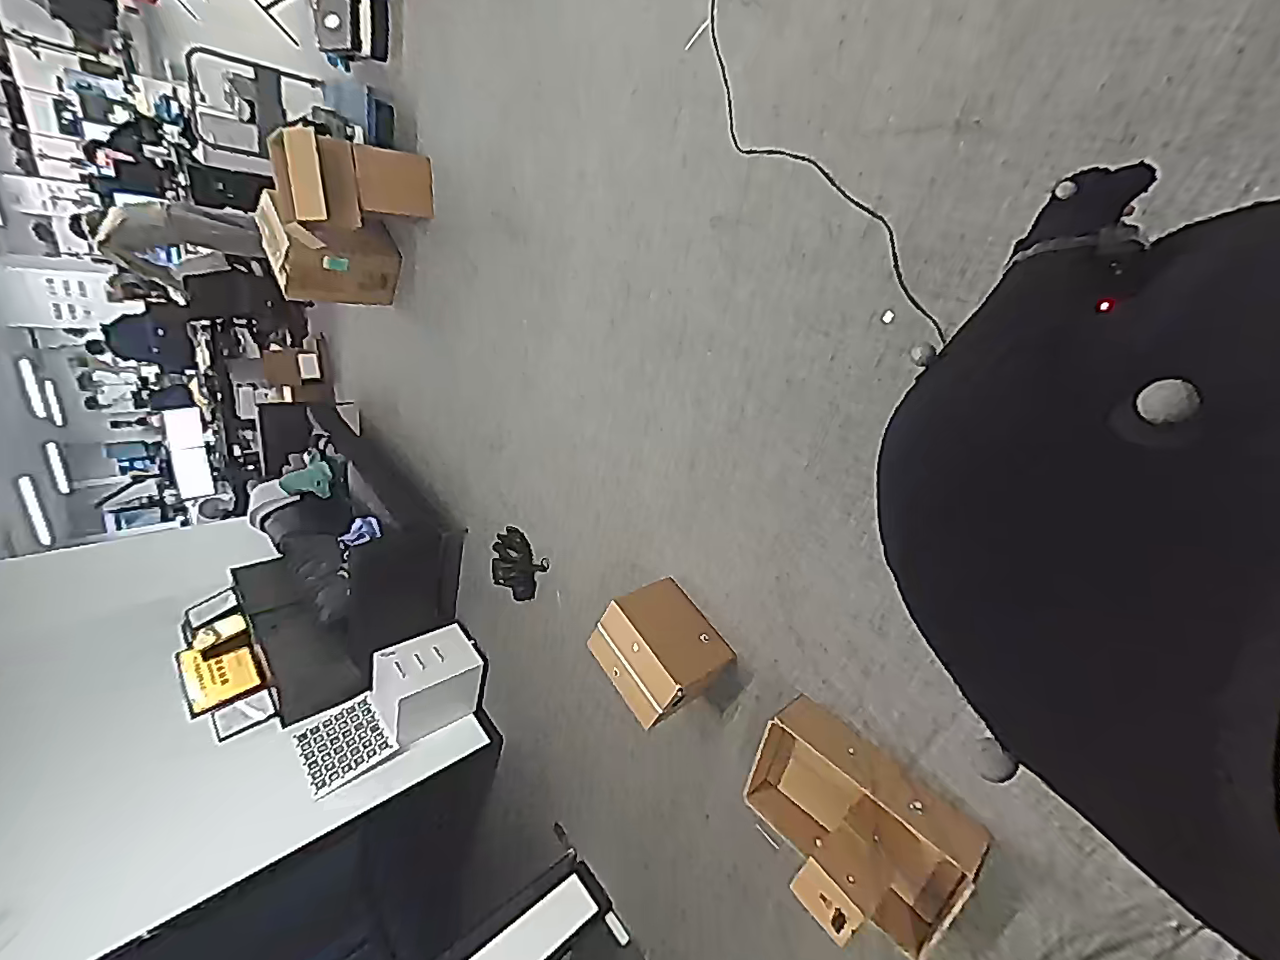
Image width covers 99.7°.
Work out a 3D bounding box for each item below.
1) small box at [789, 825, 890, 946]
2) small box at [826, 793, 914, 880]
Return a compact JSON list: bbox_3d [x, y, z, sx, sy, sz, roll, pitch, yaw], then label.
[{"bbox_3d":[0.551,1.105,1.486,0.179,0.176,0.168,39,125,37],"label":"small box"},{"bbox_3d":[0.670,1.077,1.596,0.179,0.176,0.168,39,126,37],"label":"small box"}]
